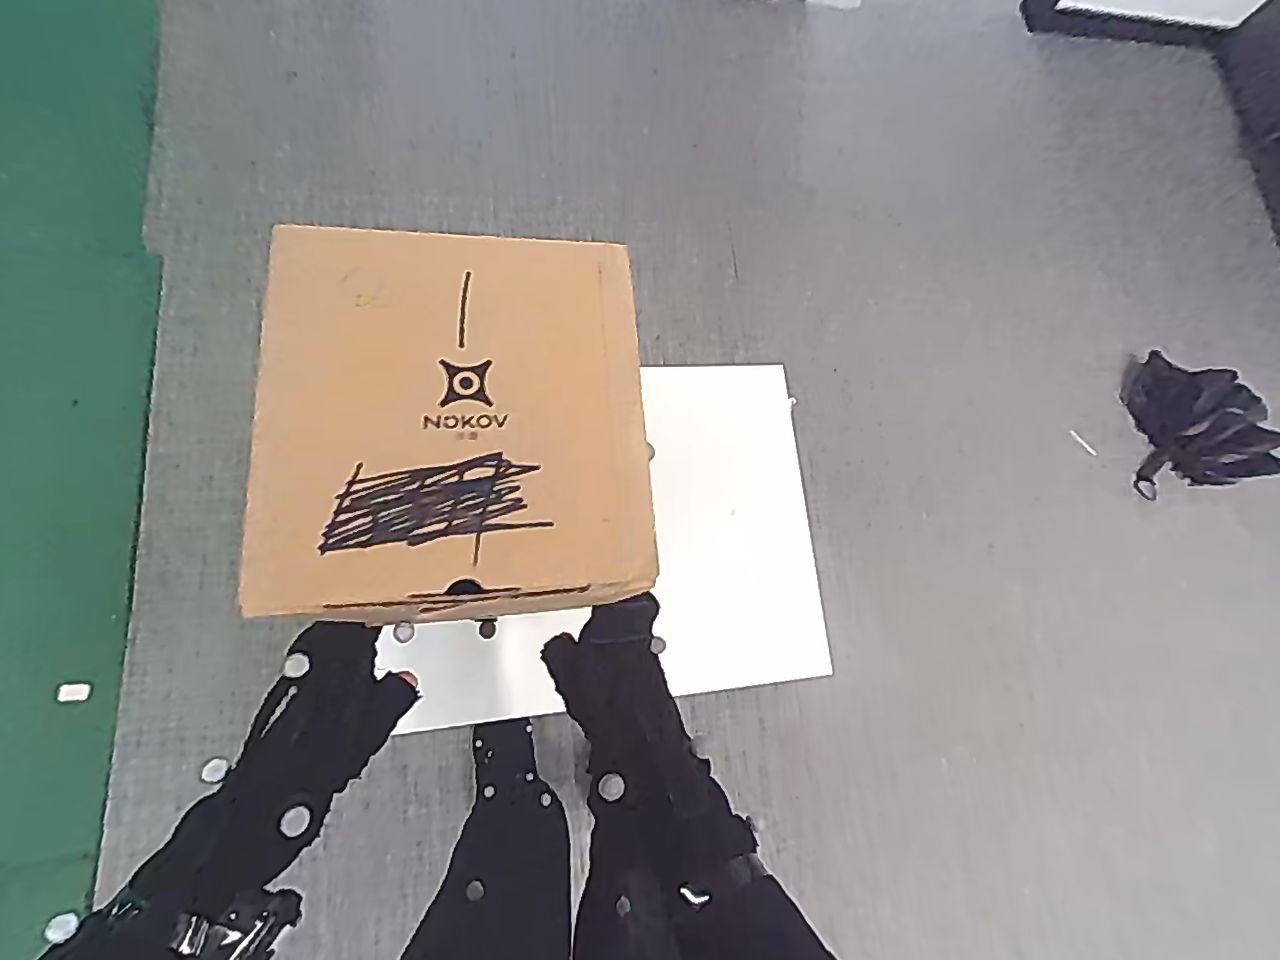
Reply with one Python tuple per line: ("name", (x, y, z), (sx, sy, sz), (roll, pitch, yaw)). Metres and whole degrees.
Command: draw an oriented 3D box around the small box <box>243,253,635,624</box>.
("small box", (-0.101, -0.007, 0.329), (0.168, 0.176, 0.179), (-2, 74, -12))
